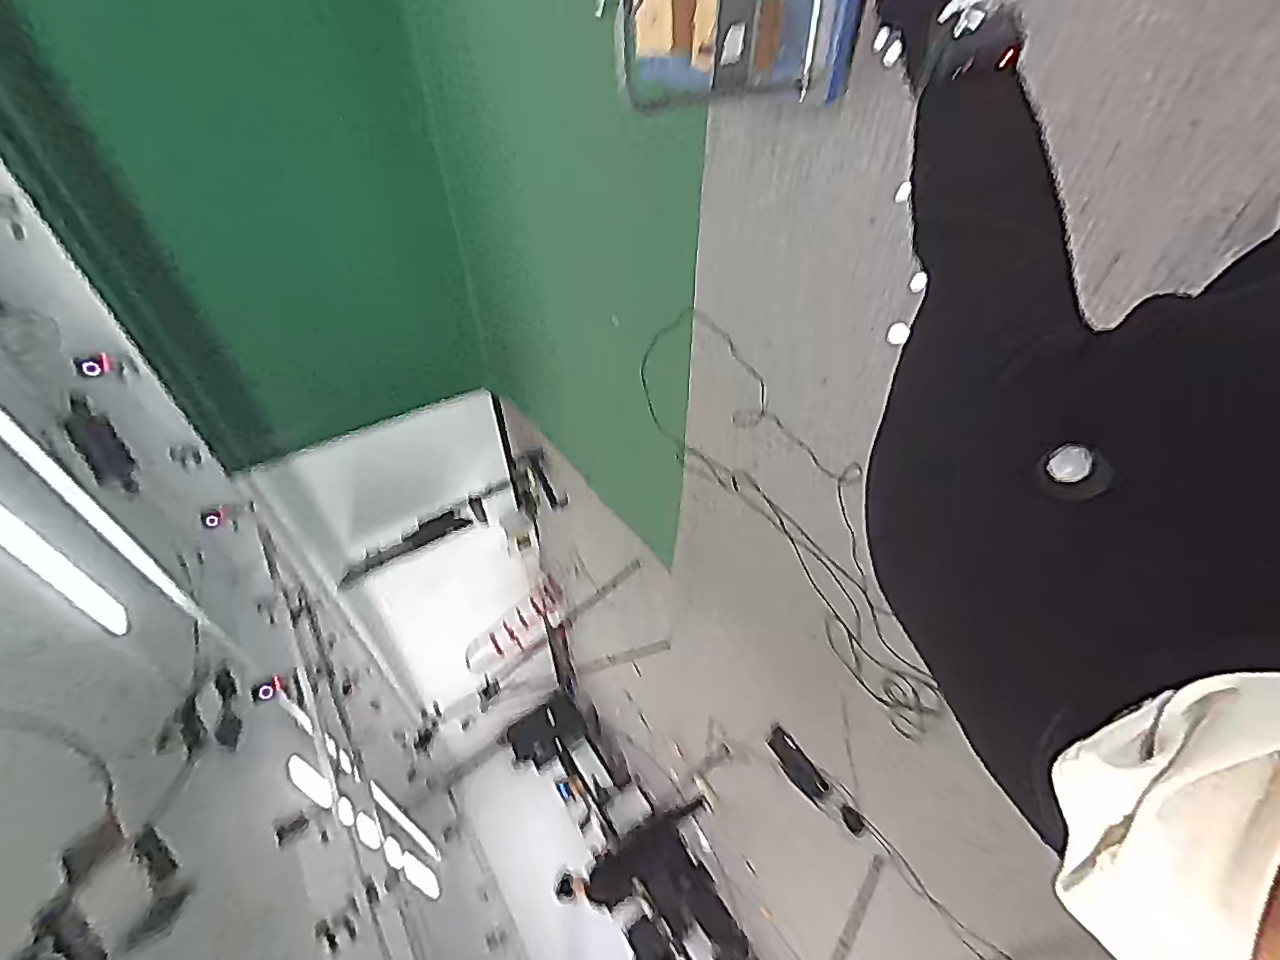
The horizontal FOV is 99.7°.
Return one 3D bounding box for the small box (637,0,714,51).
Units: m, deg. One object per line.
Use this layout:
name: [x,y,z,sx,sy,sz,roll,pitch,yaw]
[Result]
small box: [0.110,-1.420,1.648,0.179,0.176,0.168,40,145,40]
